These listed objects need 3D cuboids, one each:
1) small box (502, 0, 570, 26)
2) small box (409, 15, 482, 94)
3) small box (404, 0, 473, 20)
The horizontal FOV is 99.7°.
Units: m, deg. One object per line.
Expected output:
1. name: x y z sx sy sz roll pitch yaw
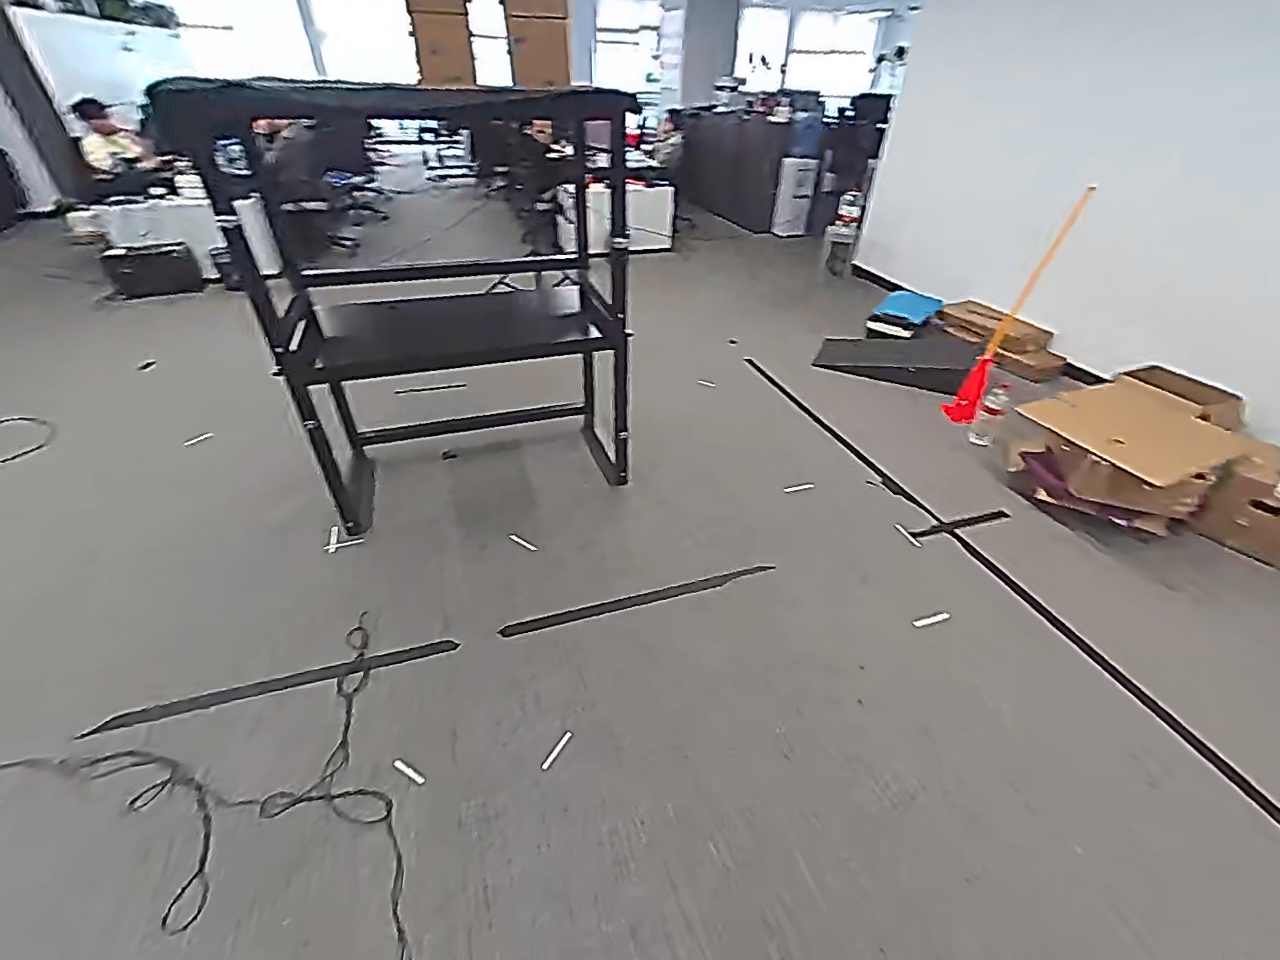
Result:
1. small box: -0.294 -1.376 1.499 0.179 0.176 0.168 -11 36 -14
2. small box: -0.549 -1.211 1.546 0.168 0.176 0.179 -9 37 -13
3. small box: -0.546 -1.338 1.441 0.179 0.176 0.168 -10 36 -12
